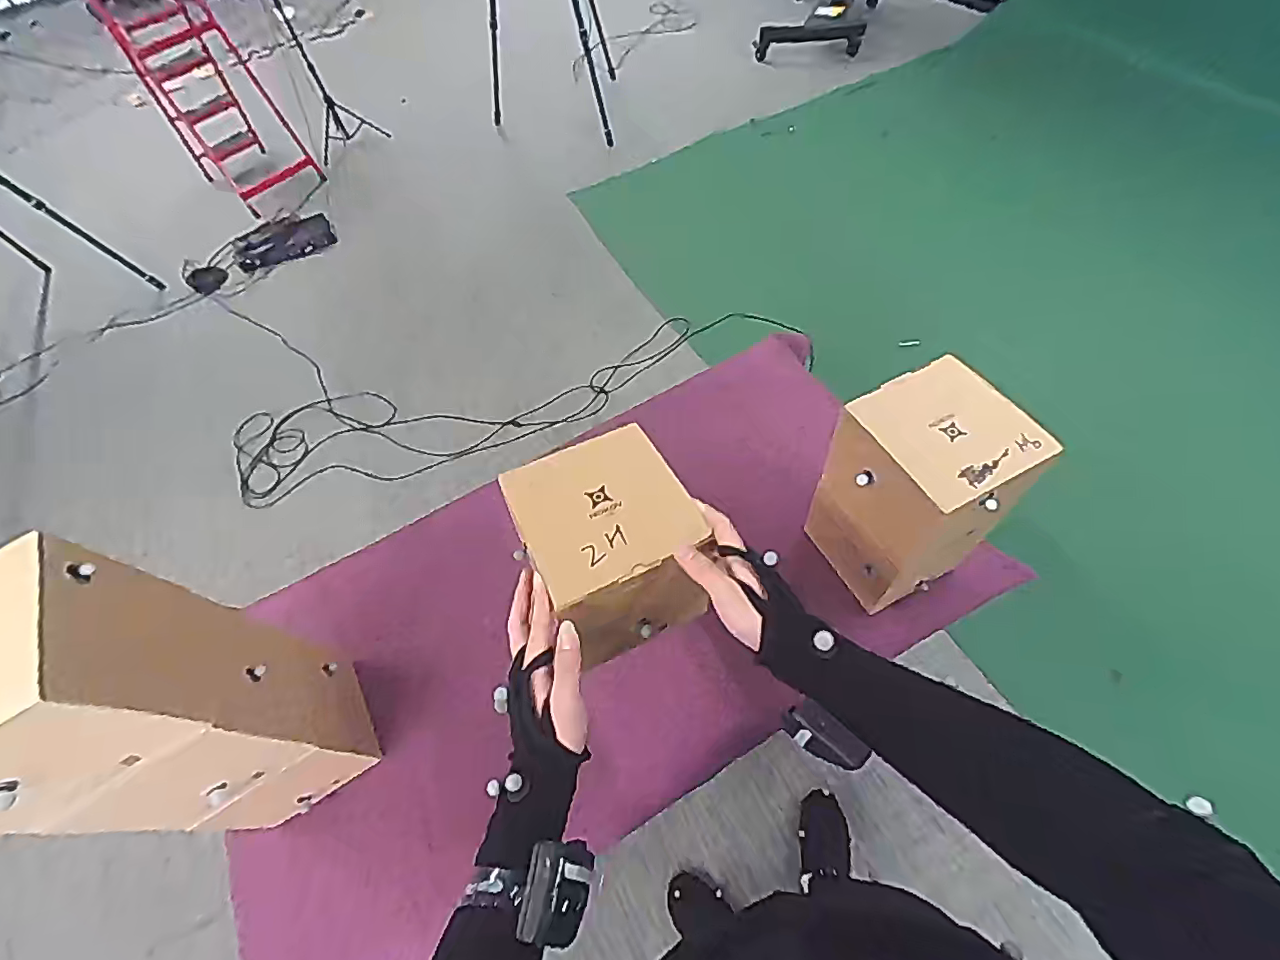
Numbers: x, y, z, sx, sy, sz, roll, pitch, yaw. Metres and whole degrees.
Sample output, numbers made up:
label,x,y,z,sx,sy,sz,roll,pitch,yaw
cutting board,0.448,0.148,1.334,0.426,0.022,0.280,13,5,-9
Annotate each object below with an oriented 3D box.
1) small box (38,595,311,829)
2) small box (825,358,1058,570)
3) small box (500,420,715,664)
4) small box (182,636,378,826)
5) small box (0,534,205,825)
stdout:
label,x,y,z,sx,sy,sz,roll,pitch,yaw
small box,-0.525,0.271,0.628,0.168,0.176,0.179,-31,60,-11
small box,0.361,-0.016,0.692,0.168,0.176,0.179,-26,58,-8
small box,-0.036,0.070,0.599,0.168,0.176,0.179,-23,55,-14
small box,-0.508,0.358,0.766,0.168,0.176,0.179,-31,61,-11
small box,-0.543,0.187,0.491,0.168,0.176,0.179,-32,60,-11
